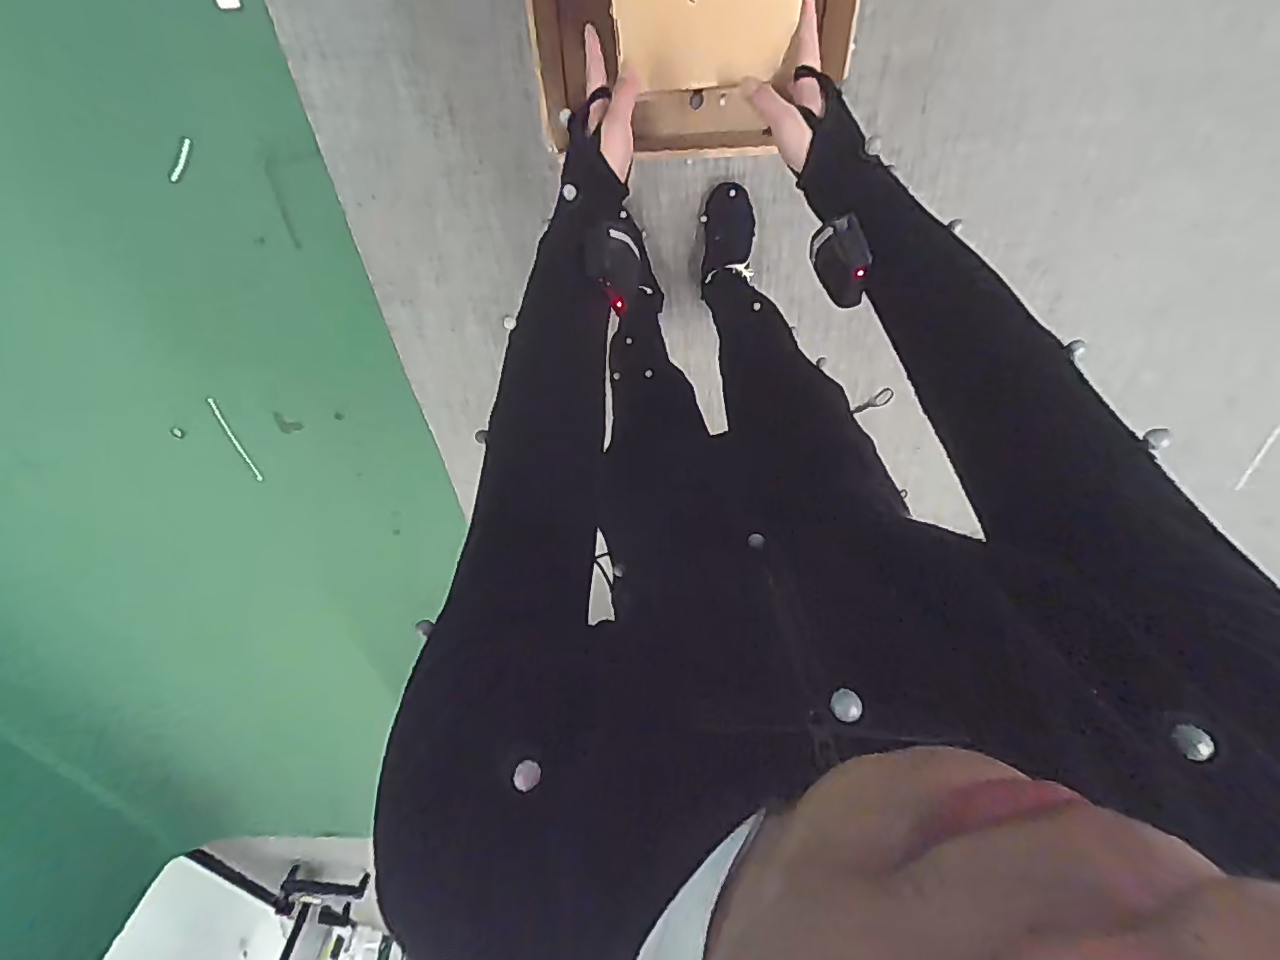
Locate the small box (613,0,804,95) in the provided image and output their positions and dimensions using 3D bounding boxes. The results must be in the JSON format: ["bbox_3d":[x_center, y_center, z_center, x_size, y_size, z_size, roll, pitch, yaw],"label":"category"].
[{"bbox_3d":[0.064,-0.500,0.547,0.179,0.176,0.168,-2,126,6],"label":"small box"}]
